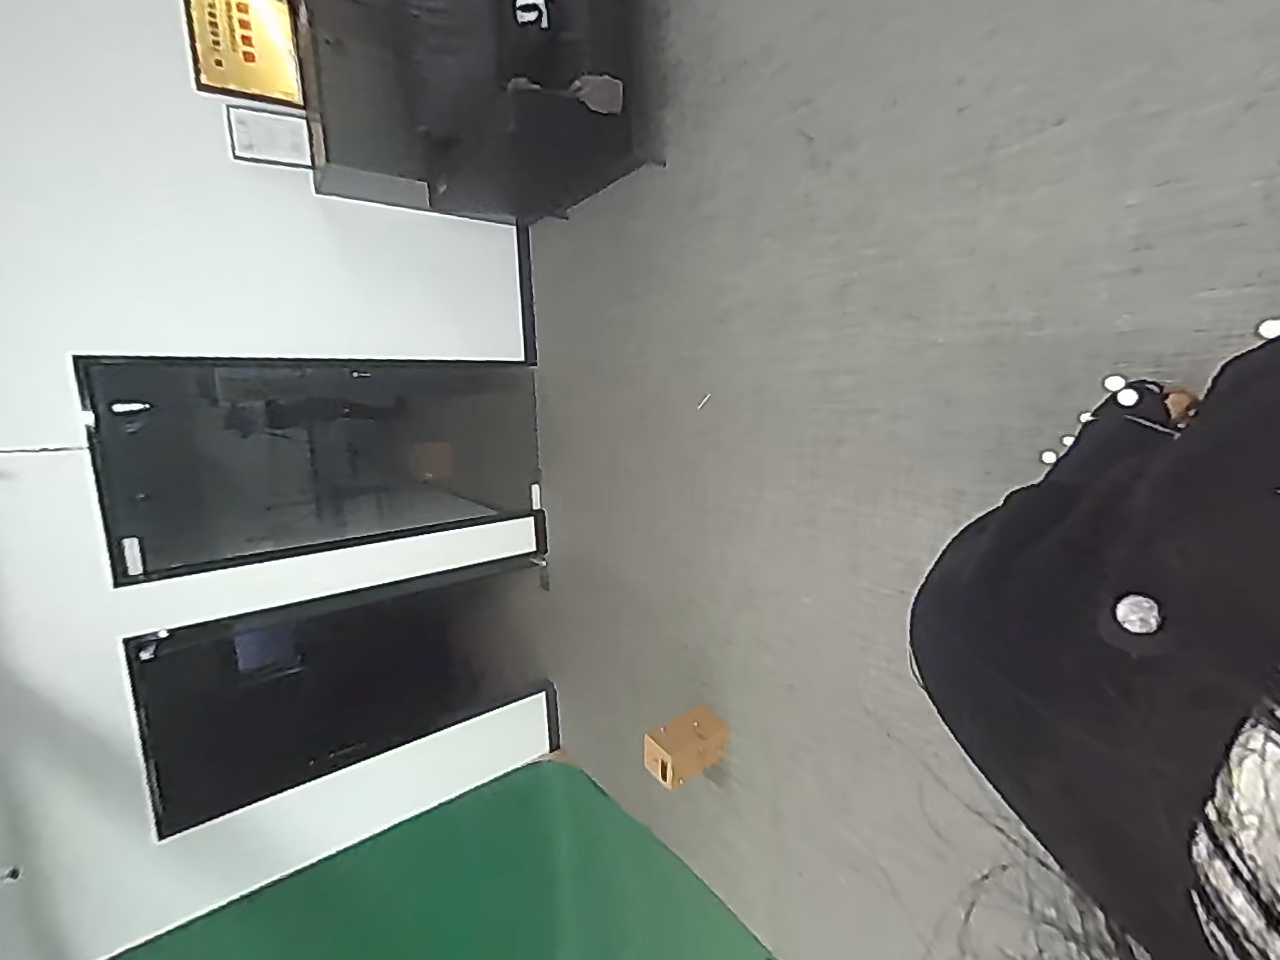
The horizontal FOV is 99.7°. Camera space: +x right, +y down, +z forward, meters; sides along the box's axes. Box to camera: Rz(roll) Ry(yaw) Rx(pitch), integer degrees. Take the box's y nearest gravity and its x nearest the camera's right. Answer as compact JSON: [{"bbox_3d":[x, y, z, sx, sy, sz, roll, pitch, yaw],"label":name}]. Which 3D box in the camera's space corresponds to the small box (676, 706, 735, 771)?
[{"bbox_3d":[0.281,1.105,2.332,0.179,0.176,0.168,26,117,48],"label":"small box"}]
